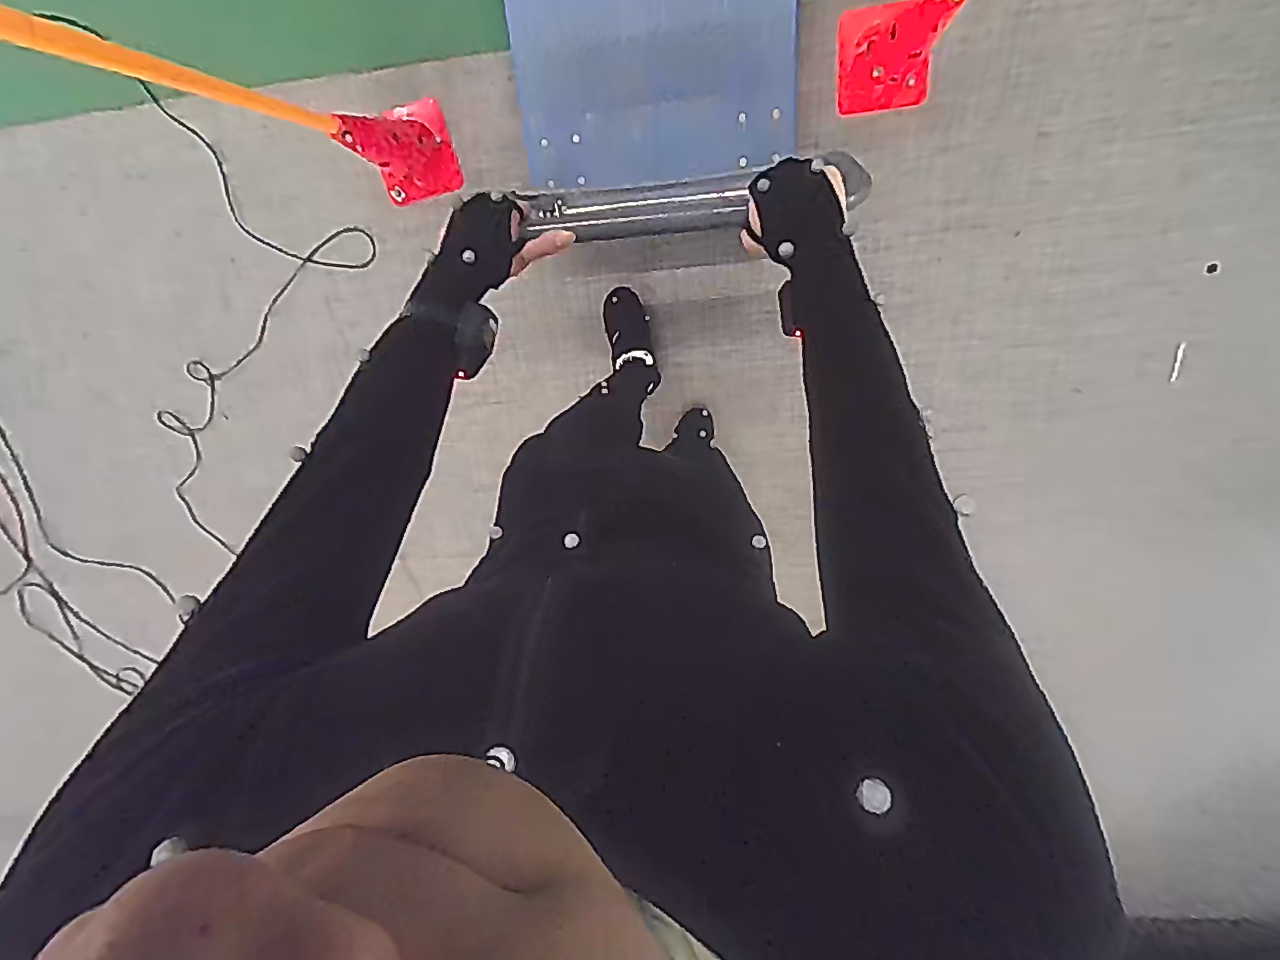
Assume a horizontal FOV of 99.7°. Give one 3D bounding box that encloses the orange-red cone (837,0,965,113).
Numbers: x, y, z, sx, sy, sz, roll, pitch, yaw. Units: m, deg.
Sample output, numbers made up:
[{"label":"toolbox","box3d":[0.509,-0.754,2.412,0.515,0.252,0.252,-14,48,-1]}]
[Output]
[{"label":"orange-red cone","box3d":[0.528,-0.866,1.030,0.198,0.360,0.199,-4,111,5]}]
